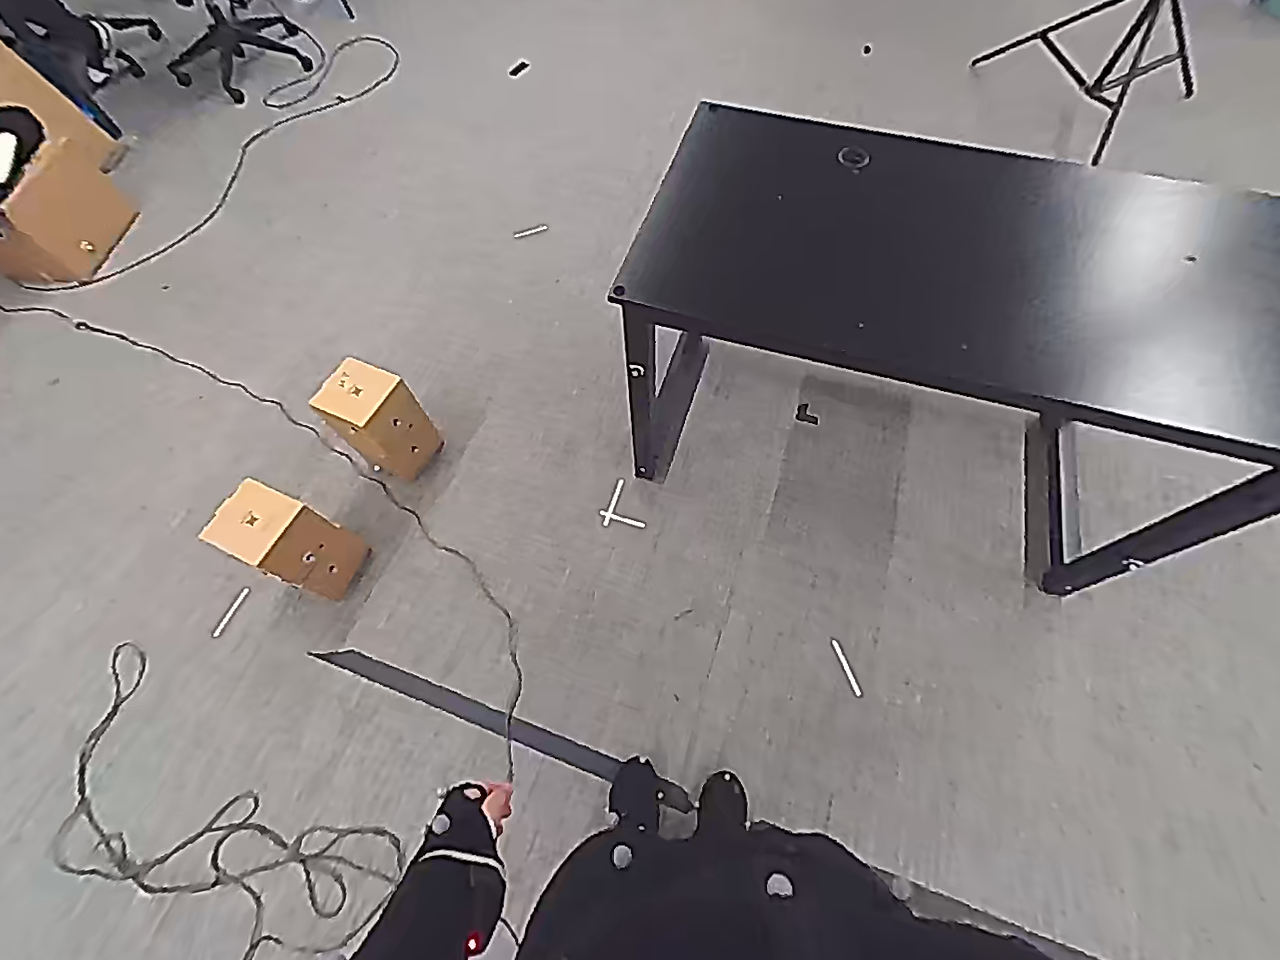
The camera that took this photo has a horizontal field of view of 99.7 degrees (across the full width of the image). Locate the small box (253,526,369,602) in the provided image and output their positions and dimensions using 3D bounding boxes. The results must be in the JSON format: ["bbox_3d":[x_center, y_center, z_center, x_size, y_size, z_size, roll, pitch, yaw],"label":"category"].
[{"bbox_3d":[-0.867,0.210,1.448,0.168,0.176,0.179,17,66,10],"label":"small box"}]

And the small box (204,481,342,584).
[{"bbox_3d":[-0.873,0.133,1.304,0.179,0.176,0.168,22,67,11],"label":"small box"}]

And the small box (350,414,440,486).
[{"bbox_3d":[-0.720,-0.114,1.603,0.168,0.176,0.179,24,67,14],"label":"small box"}]

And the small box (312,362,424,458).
[{"bbox_3d":[-0.717,-0.180,1.452,0.179,0.176,0.168,22,65,12],"label":"small box"}]
